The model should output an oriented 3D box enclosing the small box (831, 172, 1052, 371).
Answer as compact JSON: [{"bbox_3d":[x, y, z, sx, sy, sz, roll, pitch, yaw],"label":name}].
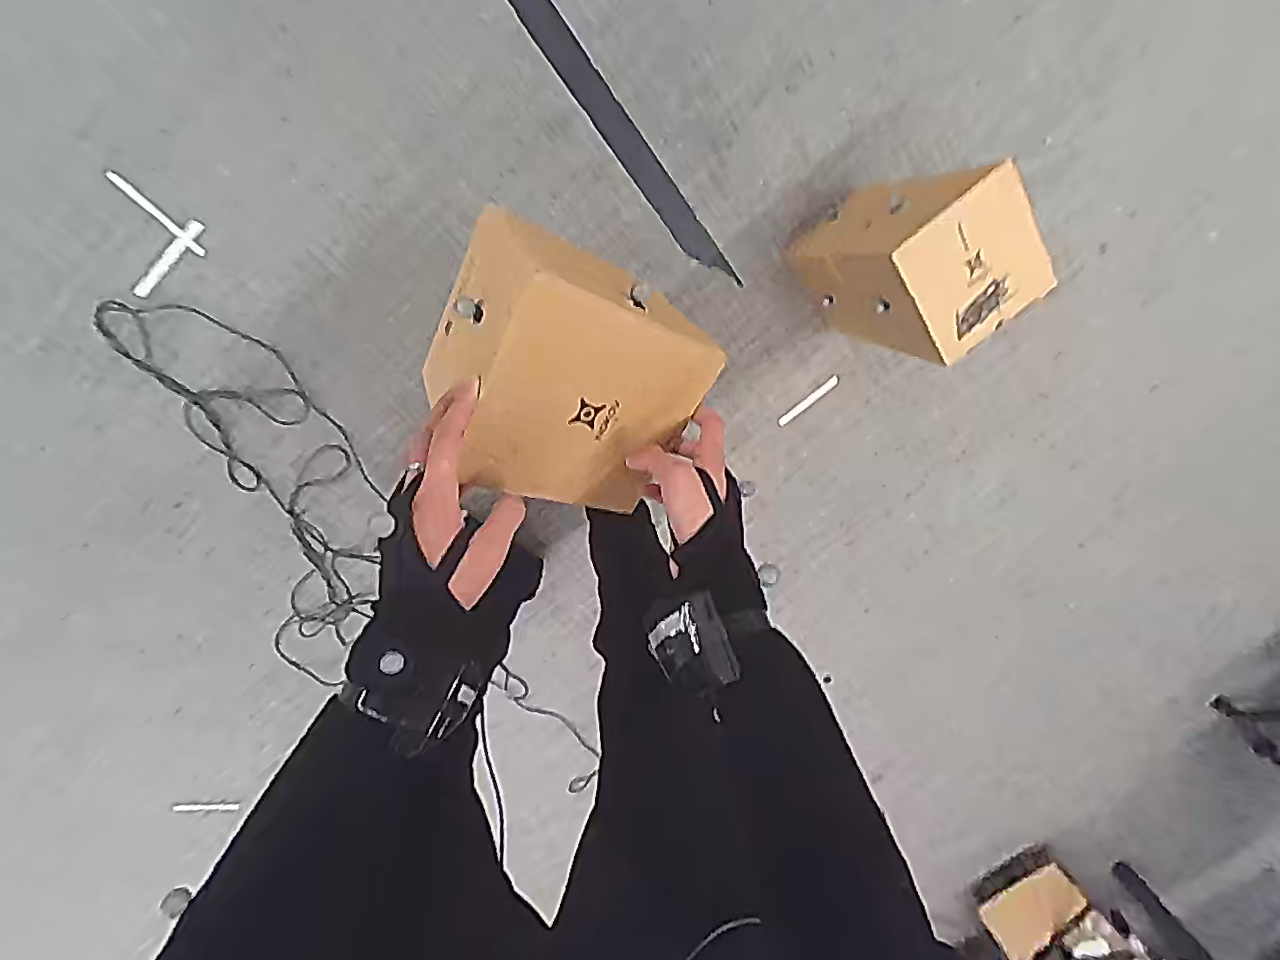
[{"bbox_3d":[0.400,-0.281,0.739,0.168,0.176,0.179,-38,112,7],"label":"small box"}]

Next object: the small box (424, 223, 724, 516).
[{"bbox_3d":[-0.070,-0.094,0.462,0.179,0.176,0.168,13,121,-37],"label":"small box"}]
